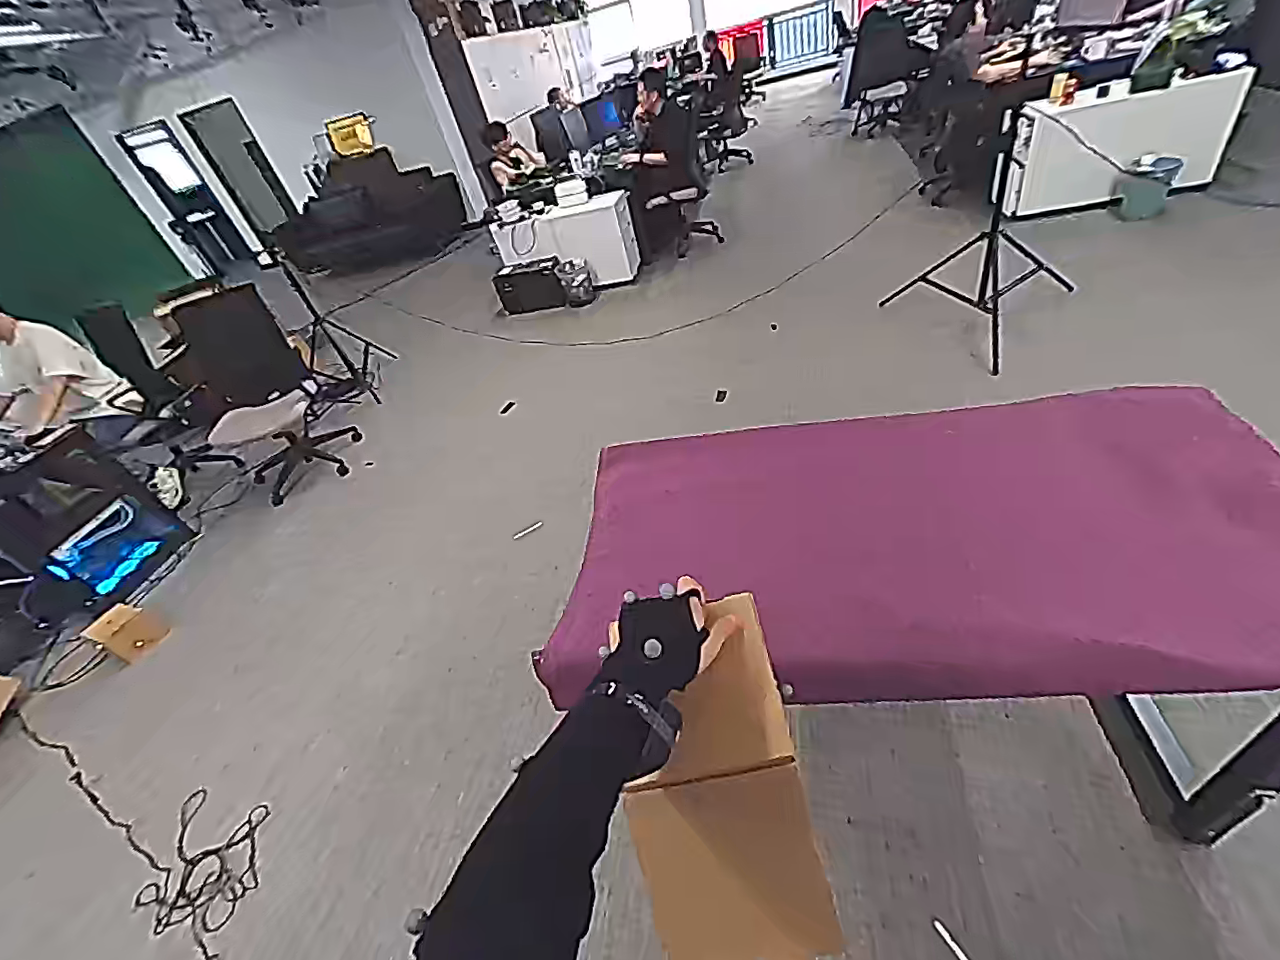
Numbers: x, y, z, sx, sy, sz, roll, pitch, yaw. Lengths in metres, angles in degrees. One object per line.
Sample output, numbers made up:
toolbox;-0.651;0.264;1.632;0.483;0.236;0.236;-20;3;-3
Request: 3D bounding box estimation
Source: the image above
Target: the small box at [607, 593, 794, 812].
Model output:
small box;0.068;0.257;0.608;0.168;0.176;0.179;-14;48;7
